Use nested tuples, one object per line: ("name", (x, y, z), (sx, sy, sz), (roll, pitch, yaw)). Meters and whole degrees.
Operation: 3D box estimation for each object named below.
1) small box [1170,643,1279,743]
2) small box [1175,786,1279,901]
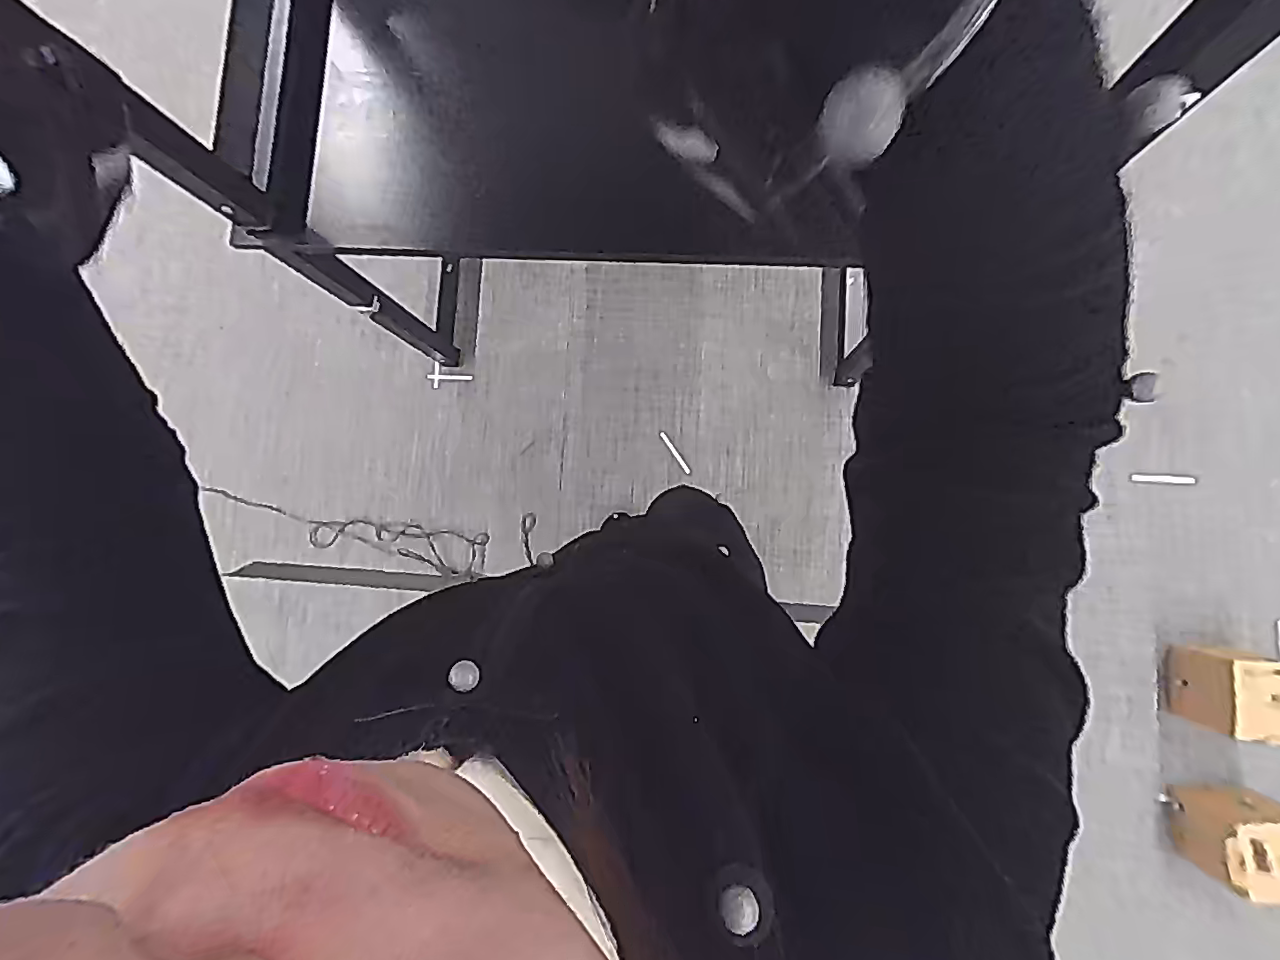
("small box", (1.407, 0.496, 1.272), (0.168, 0.176, 0.179), (3, 87, 5))
("small box", (1.398, 0.831, 1.250), (0.179, 0.176, 0.168), (-4, 86, 4))
